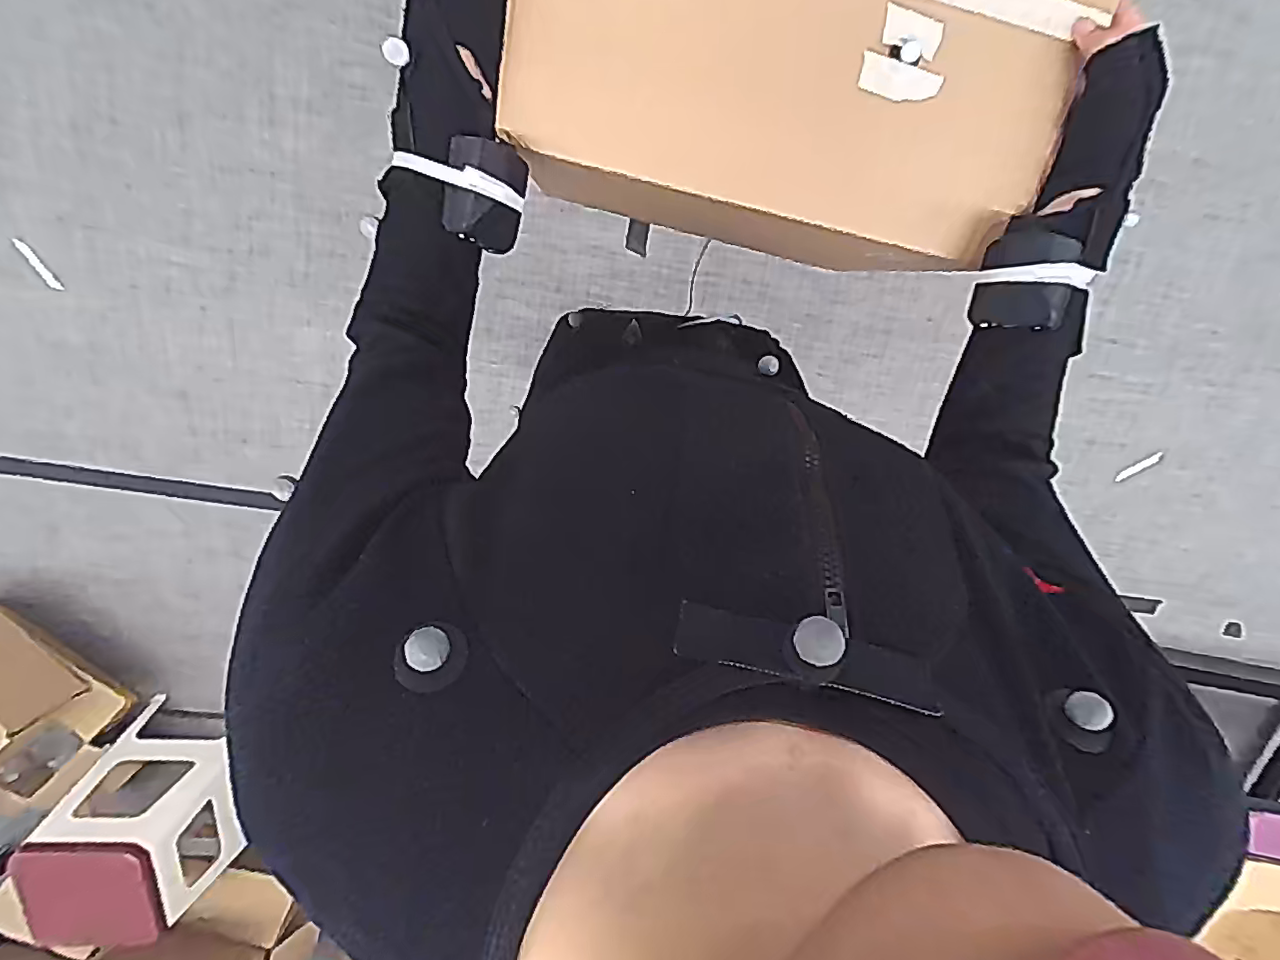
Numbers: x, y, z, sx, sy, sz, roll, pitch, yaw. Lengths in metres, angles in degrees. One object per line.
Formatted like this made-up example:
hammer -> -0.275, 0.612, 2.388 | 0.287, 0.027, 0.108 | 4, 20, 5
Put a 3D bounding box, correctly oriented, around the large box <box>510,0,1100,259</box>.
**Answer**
large box -> 0.115, -0.409, 0.501 | 0.408, 0.320, 0.320 | 10, 111, -9
